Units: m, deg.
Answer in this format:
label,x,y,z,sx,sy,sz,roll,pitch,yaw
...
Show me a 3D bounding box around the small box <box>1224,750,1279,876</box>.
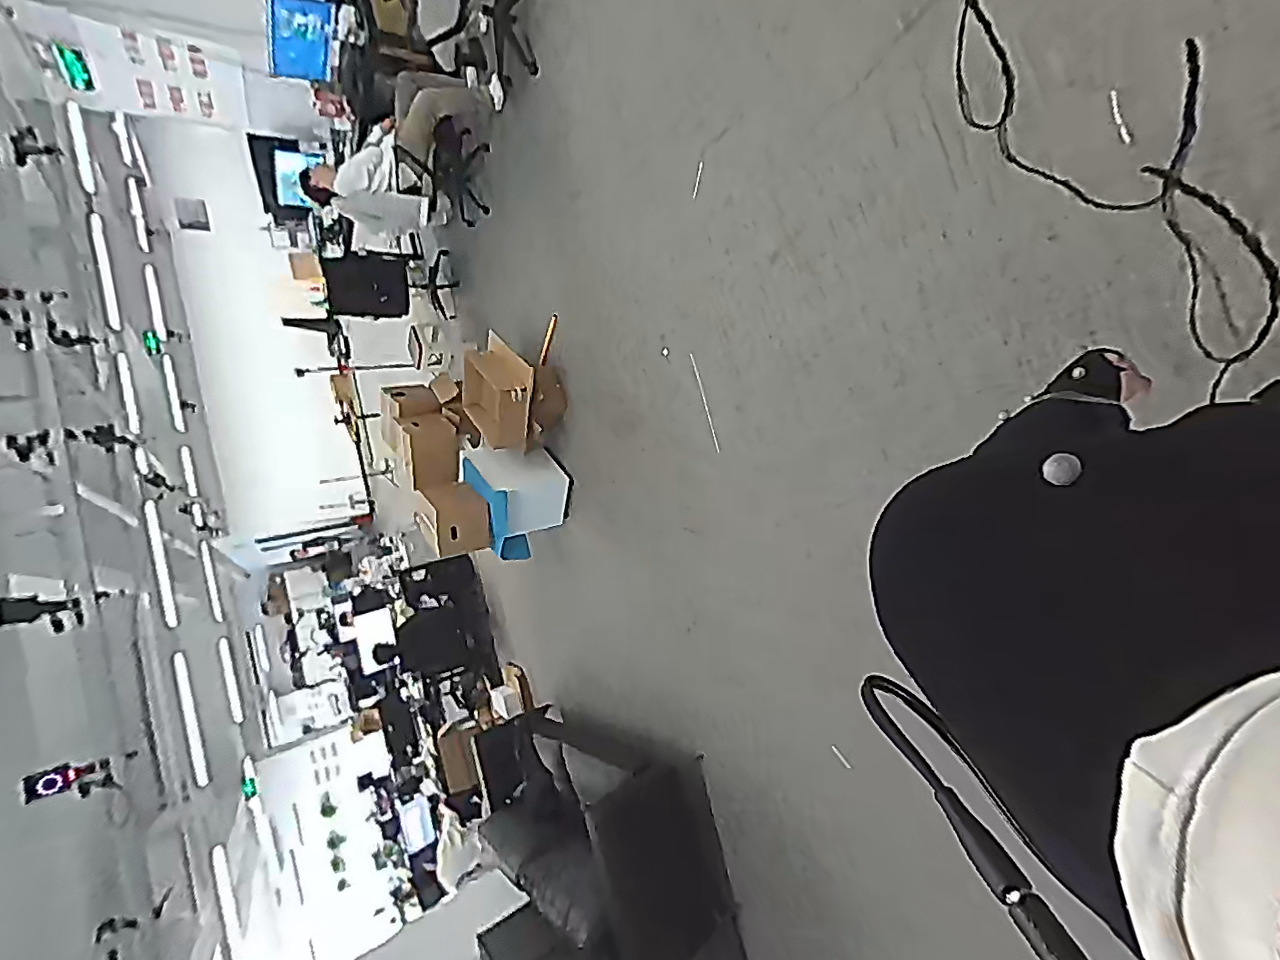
label,x,y,z,sx,sy,sz,roll,pitch,yaw
small box,1.317,0.678,1.085,0.168,0.176,0.179,-7,92,57
